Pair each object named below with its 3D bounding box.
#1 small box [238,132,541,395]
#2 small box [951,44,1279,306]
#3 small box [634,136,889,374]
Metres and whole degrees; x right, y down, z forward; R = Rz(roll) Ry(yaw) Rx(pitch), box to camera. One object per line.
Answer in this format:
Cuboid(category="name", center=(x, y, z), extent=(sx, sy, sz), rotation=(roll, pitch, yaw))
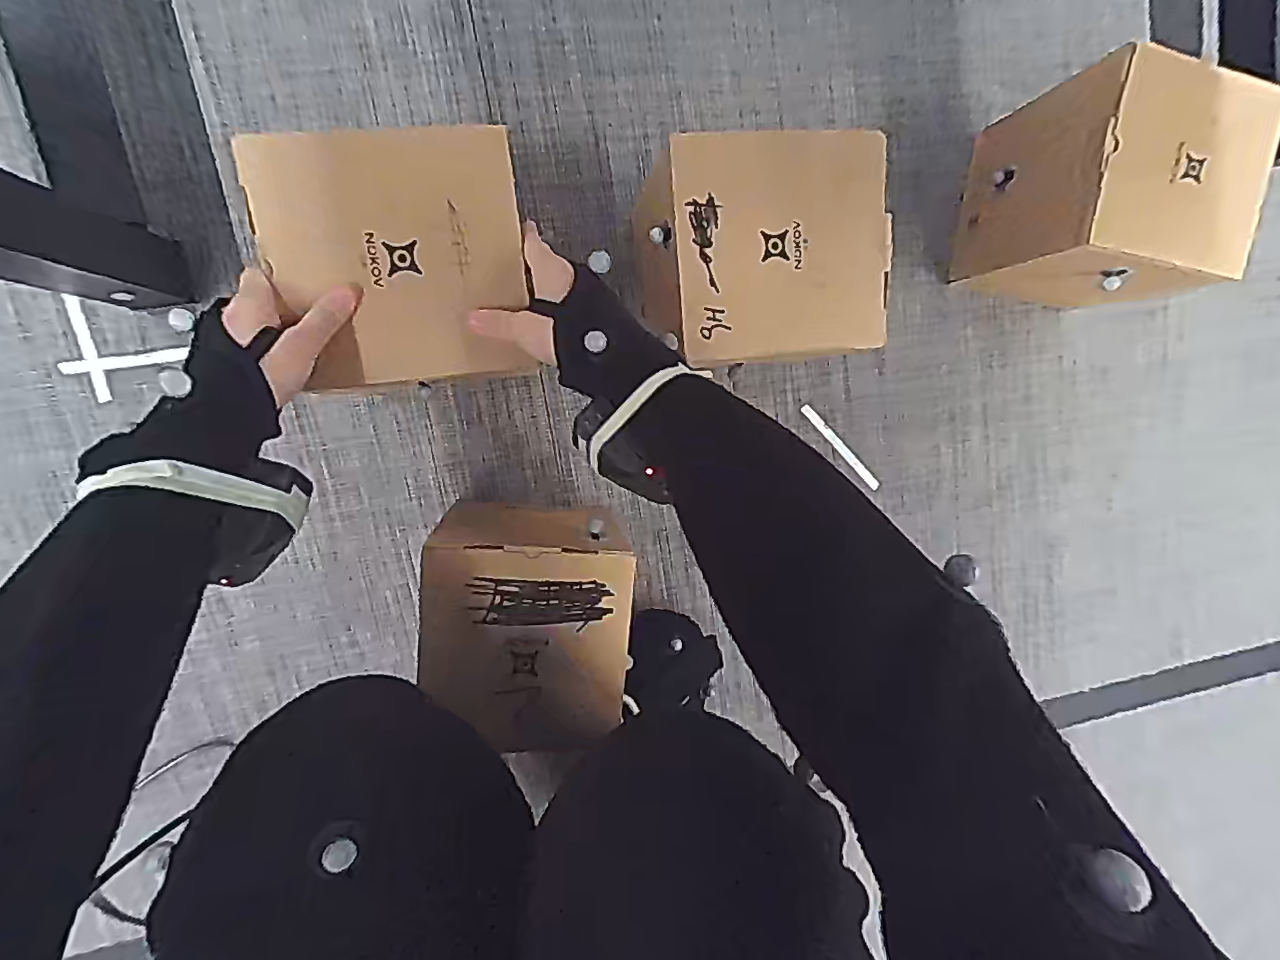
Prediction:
Cuboid(category="small box", center=(-0.179, -0.160, 0.450), extent=(0.179, 0.176, 0.168), rotation=(-8, 101, -10))
Cuboid(category="small box", center=(0.463, -0.281, 0.547), extent=(0.179, 0.176, 0.168), rotation=(7, 97, -10))
Cuboid(category="small box", center=(0.099, -0.188, 0.495), extent=(0.179, 0.176, 0.168), rotation=(-6, 99, -9))
